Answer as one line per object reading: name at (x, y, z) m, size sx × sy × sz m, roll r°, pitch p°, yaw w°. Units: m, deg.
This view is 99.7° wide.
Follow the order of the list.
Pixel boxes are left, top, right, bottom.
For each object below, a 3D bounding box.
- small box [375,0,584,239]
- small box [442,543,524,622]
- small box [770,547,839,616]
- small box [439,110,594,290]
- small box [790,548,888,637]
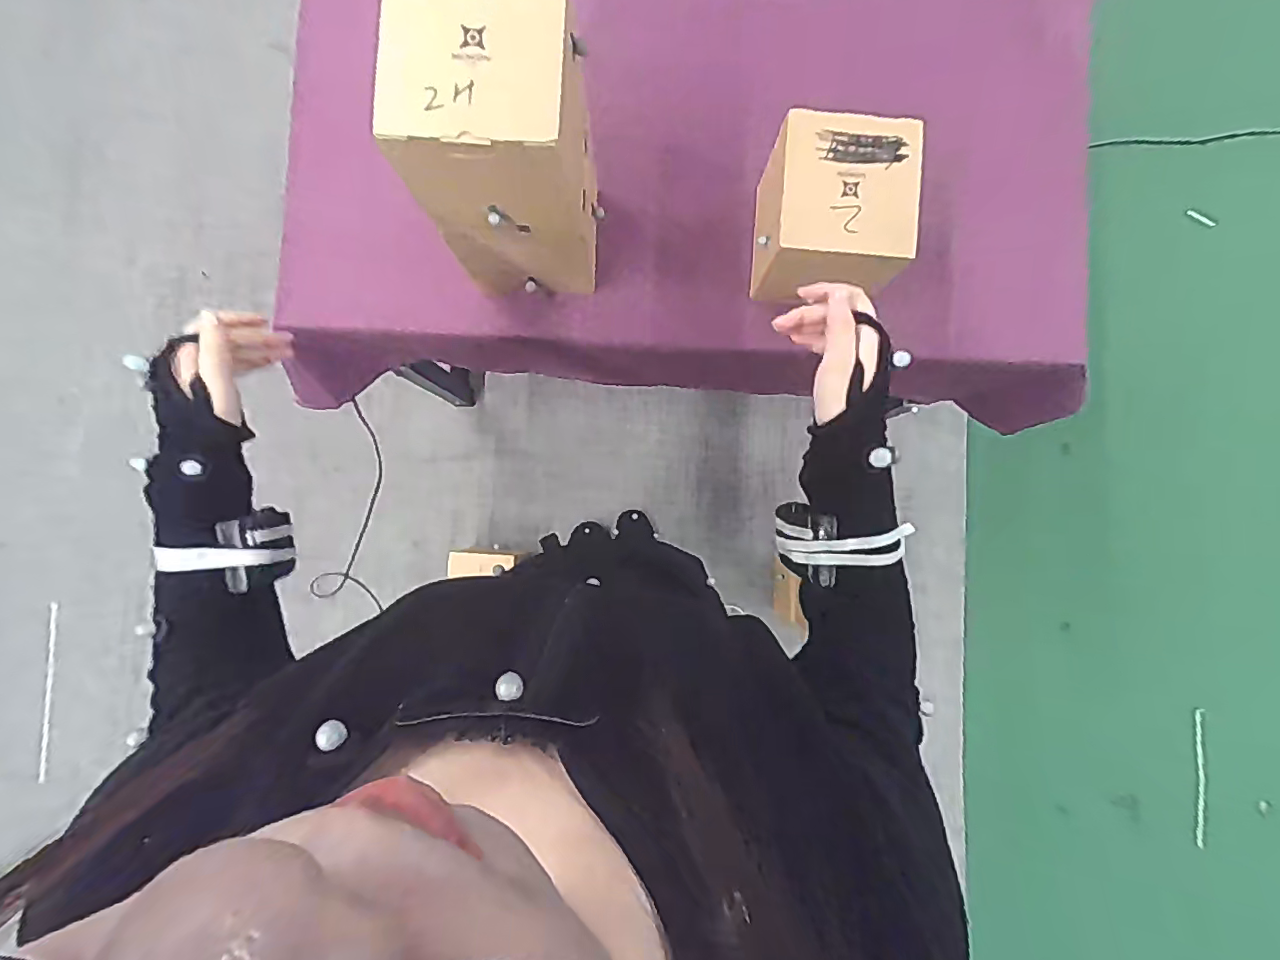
small box at (-0.150, -0.381, 0.564) m, size 0.168 × 0.176 × 0.179 m, roll 3°, pitch 87°, yaw 0°
small box at (-0.407, 0.265, 1.426) m, size 0.168 × 0.176 × 0.179 m, roll 4°, pitch 86°, yaw -1°
small box at (0.451, 0.268, 1.442) m, size 0.179 × 0.176 × 0.168 m, roll 1°, pitch 88°, yaw -2°
small box at (-0.153, -0.368, 0.729) m, size 0.179 × 0.176 × 0.168 m, roll 1°, pitch 87°, yaw -2°
small box at (0.464, 0.261, 1.280) m, size 0.168 × 0.176 × 0.179 m, roll 3°, pitch 87°, yaw -3°
